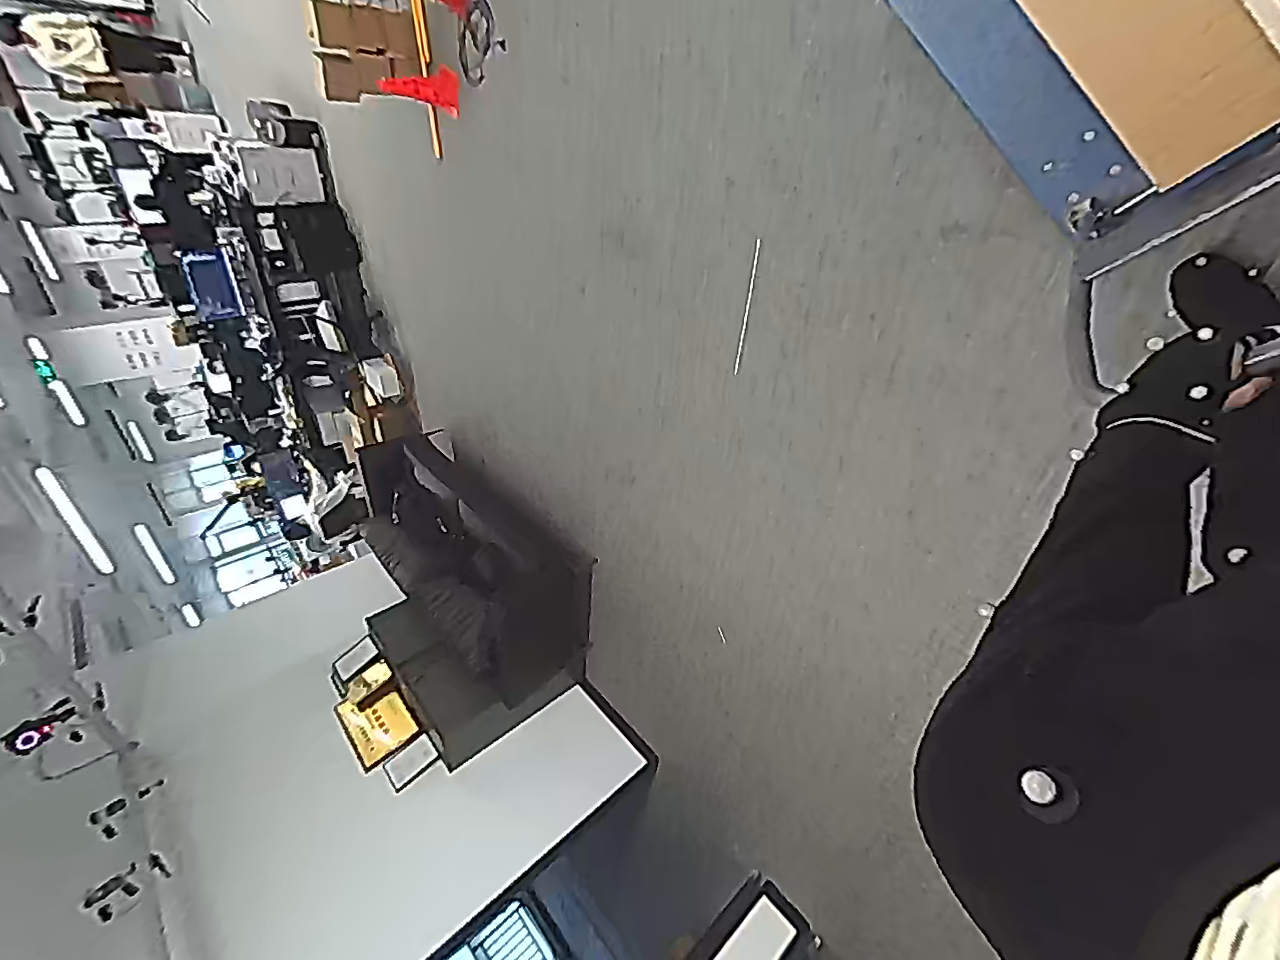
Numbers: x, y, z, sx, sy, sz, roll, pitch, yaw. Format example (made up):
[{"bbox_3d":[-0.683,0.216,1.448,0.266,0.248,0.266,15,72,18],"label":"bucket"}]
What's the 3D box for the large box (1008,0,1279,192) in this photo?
[{"bbox_3d":[0.798,-0.701,0.747,0.408,0.320,0.320,48,143,-4],"label":"large box"}]
